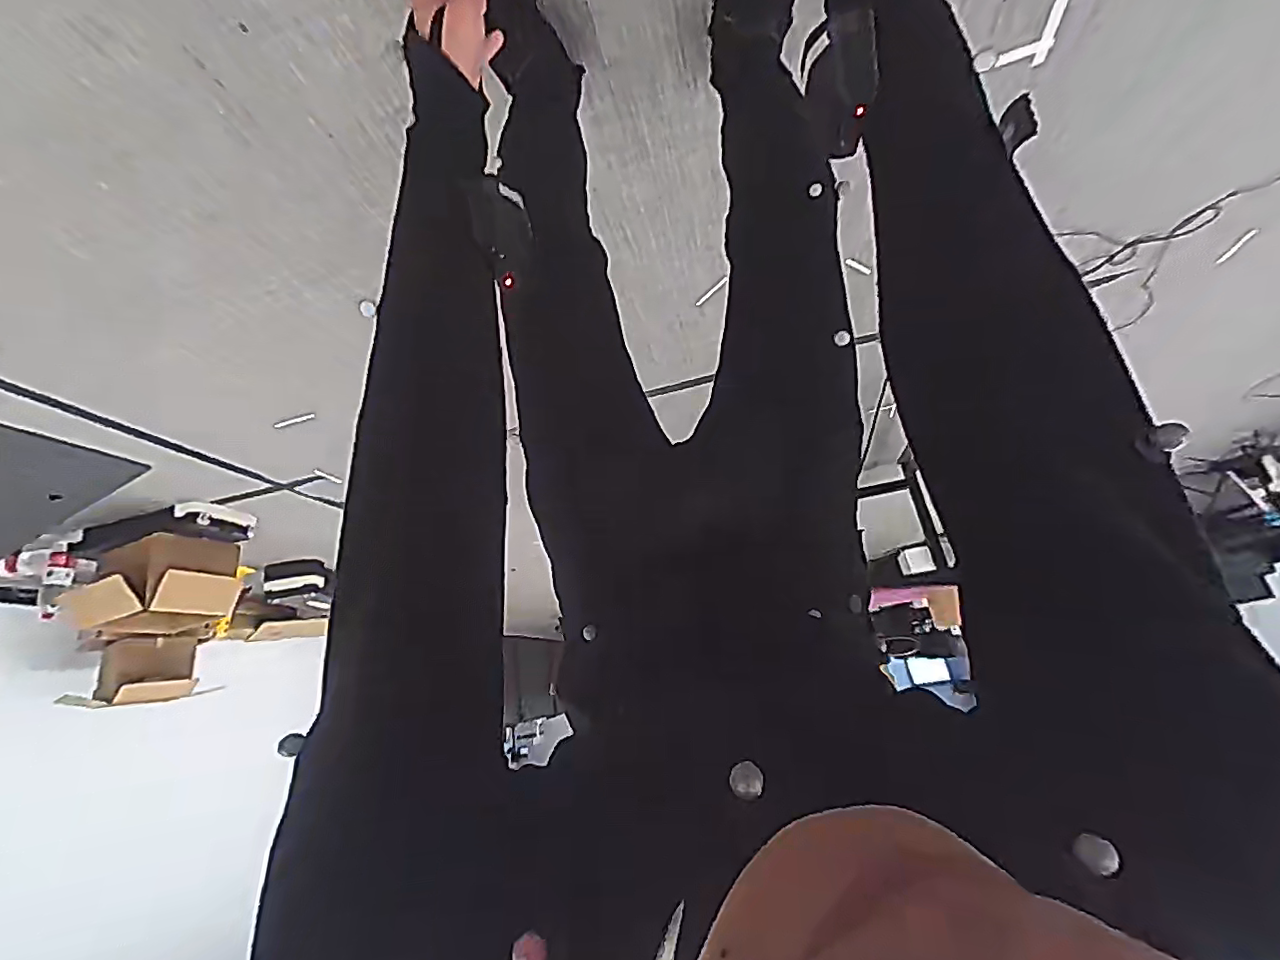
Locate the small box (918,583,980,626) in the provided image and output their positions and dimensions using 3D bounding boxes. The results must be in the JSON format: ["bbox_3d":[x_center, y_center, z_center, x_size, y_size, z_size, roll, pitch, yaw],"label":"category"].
[{"bbox_3d":[1.418,0.575,2.493,0.179,0.176,0.168,-11,161,7],"label":"small box"}]
